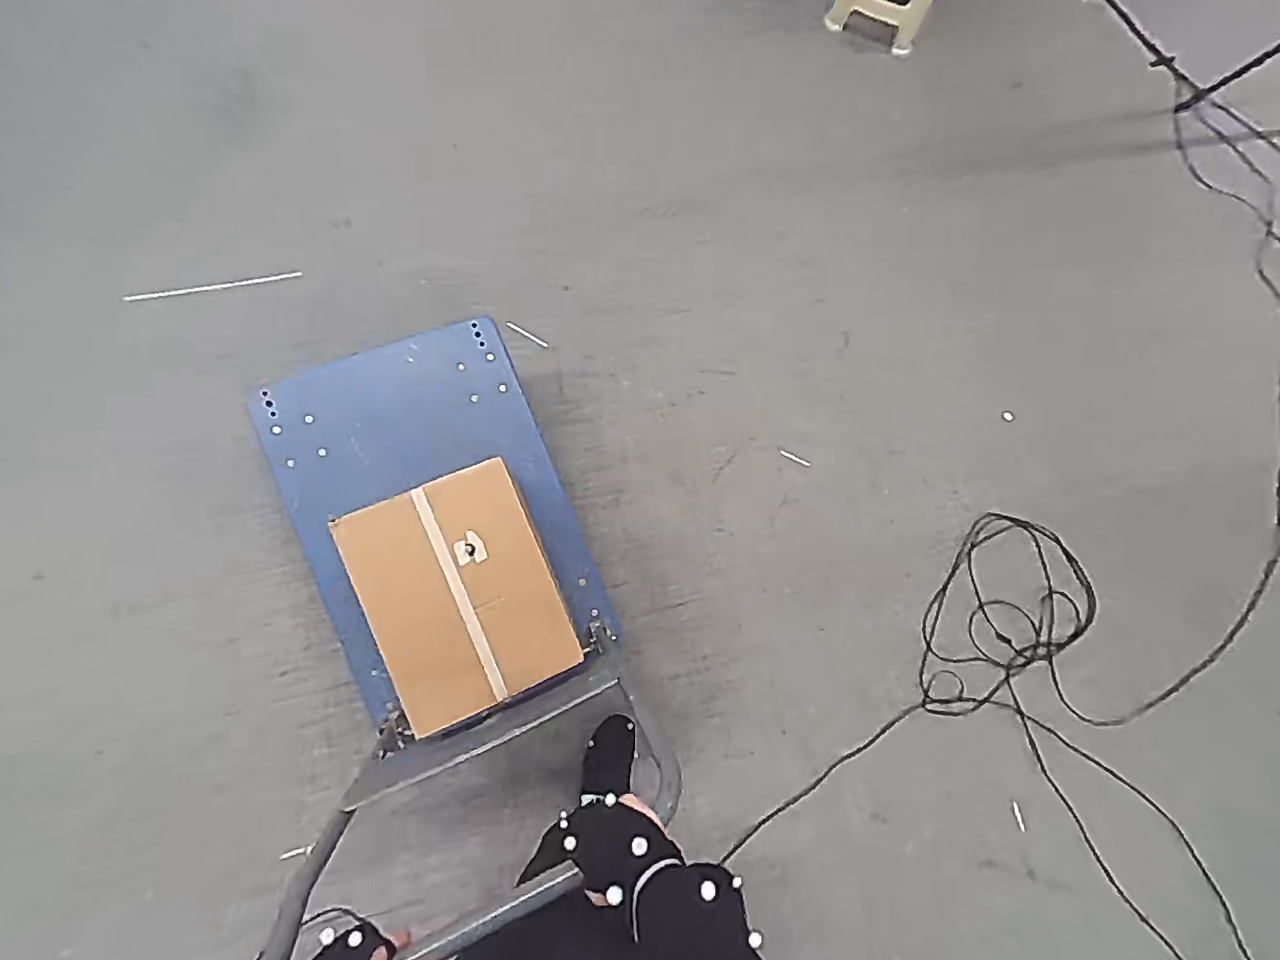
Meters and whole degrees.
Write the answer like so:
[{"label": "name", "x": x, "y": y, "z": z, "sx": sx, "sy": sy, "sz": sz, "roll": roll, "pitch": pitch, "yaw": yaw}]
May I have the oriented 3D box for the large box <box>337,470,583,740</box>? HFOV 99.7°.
[{"label": "large box", "x": -0.339, "y": 0.234, "z": 1.119, "sx": 0.320, "sy": 0.320, "sz": 0.408, "roll": -23, "pitch": 88, "yaw": -11}]
